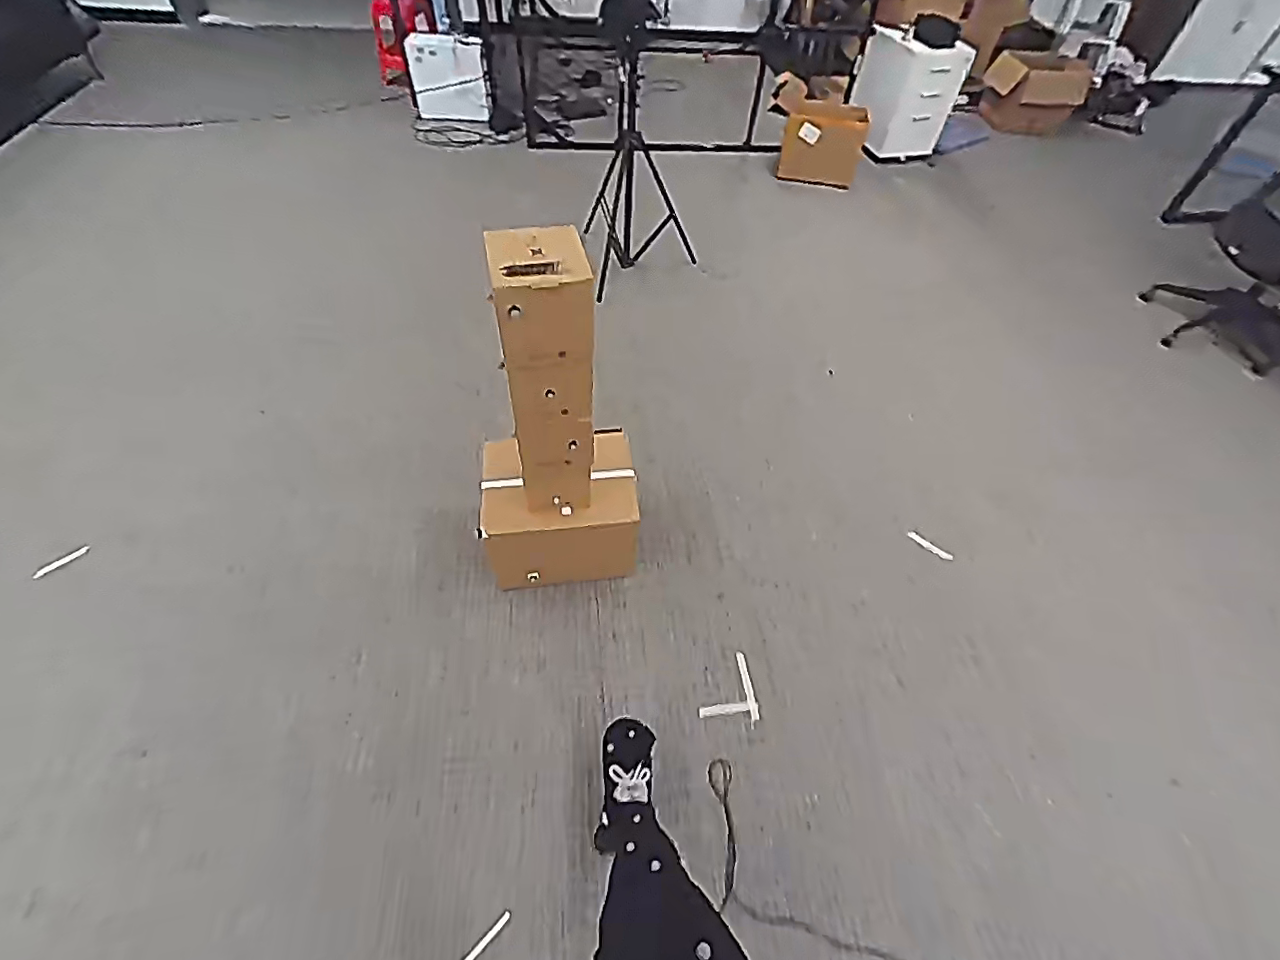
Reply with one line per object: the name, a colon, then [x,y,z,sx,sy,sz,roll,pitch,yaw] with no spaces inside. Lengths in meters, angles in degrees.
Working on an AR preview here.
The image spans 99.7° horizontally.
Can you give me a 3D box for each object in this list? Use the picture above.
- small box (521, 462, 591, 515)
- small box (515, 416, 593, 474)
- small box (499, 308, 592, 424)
small box: [-0.214,-0.032,1.382,0.168,0.176,0.179,-5,54,-8]
small box: [-0.198,-0.127,1.251,0.168,0.176,0.179,-5,52,-10]
small box: [-0.192,-0.229,1.122,0.168,0.176,0.179,-8,54,-12]
